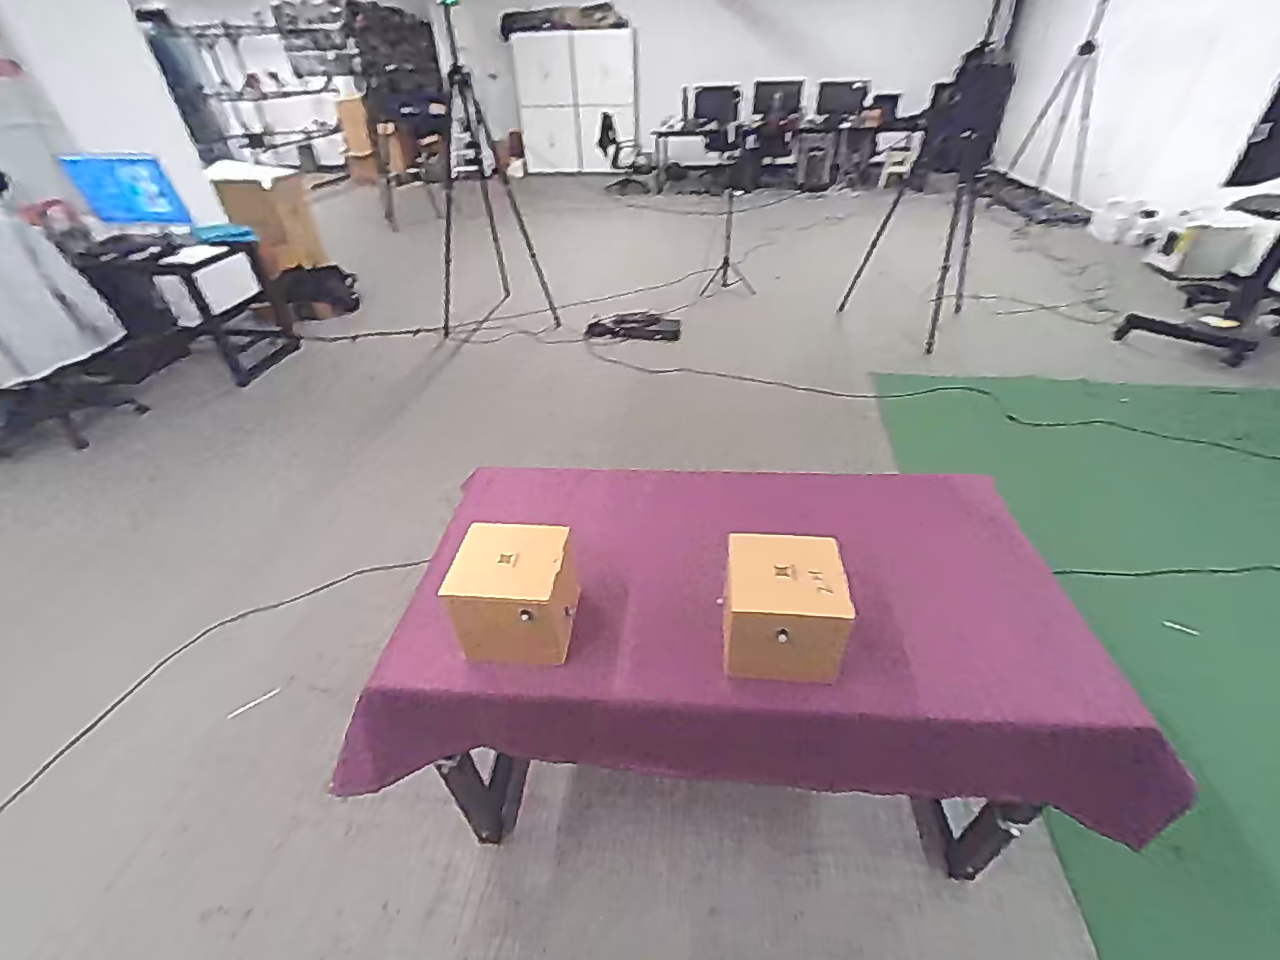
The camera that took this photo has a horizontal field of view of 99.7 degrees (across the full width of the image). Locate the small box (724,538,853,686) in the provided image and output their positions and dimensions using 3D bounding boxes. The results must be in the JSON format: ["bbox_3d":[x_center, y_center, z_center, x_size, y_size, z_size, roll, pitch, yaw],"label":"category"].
[{"bbox_3d":[0.228,0.214,0.880,0.179,0.176,0.168,3,39,6],"label":"small box"}]

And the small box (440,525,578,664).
[{"bbox_3d":[-0.210,0.195,0.923,0.179,0.176,0.168,3,38,4],"label":"small box"}]
